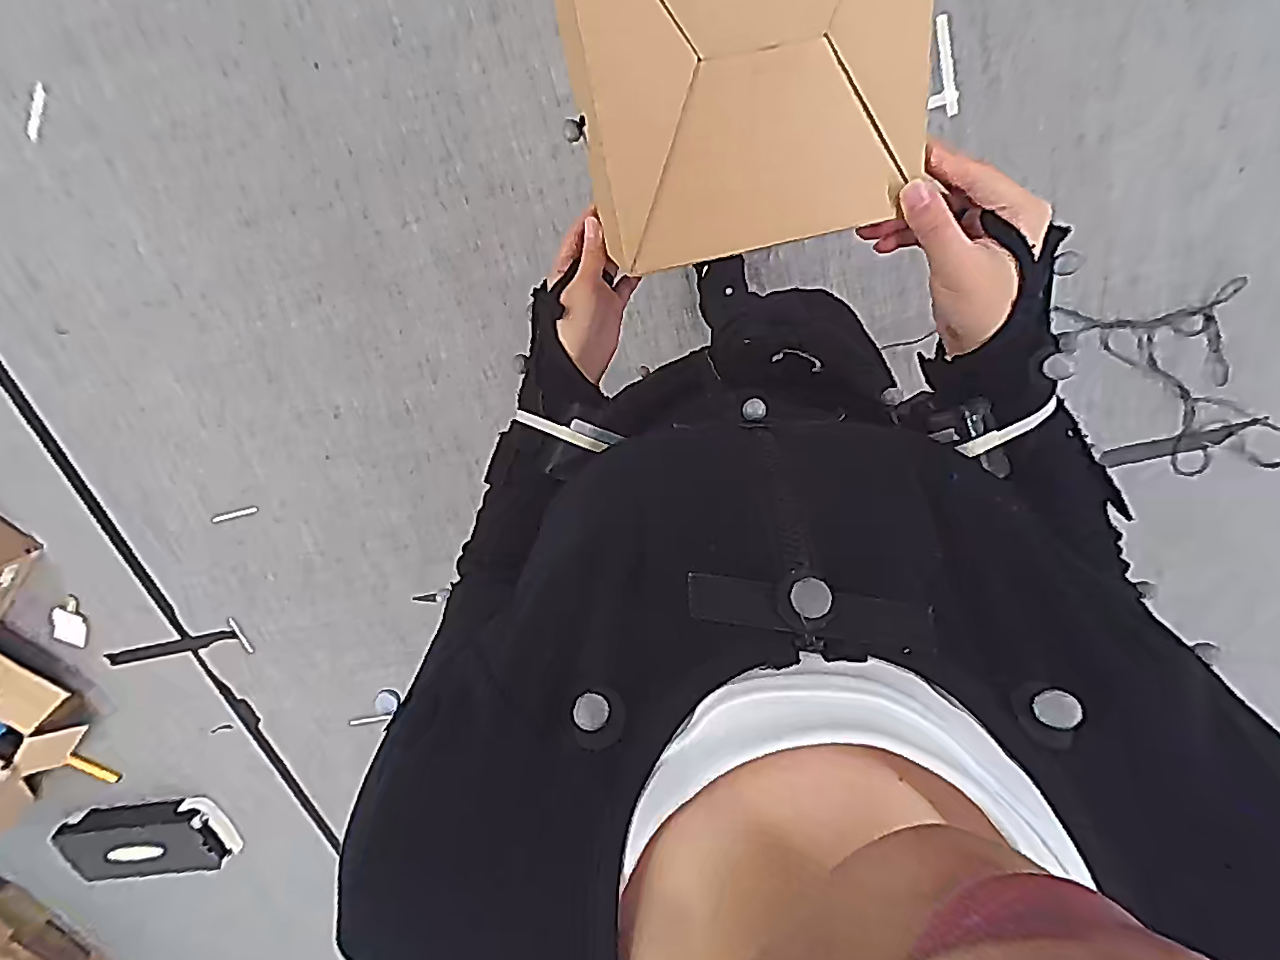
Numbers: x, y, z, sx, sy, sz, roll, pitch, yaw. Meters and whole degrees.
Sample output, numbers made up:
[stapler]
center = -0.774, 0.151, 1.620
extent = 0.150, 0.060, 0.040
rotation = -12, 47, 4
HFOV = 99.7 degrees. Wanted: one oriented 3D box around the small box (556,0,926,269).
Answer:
[small box]
center = 0.049, -0.240, 0.324
extent = 0.168, 0.176, 0.179
rotation = -13, 118, -2
